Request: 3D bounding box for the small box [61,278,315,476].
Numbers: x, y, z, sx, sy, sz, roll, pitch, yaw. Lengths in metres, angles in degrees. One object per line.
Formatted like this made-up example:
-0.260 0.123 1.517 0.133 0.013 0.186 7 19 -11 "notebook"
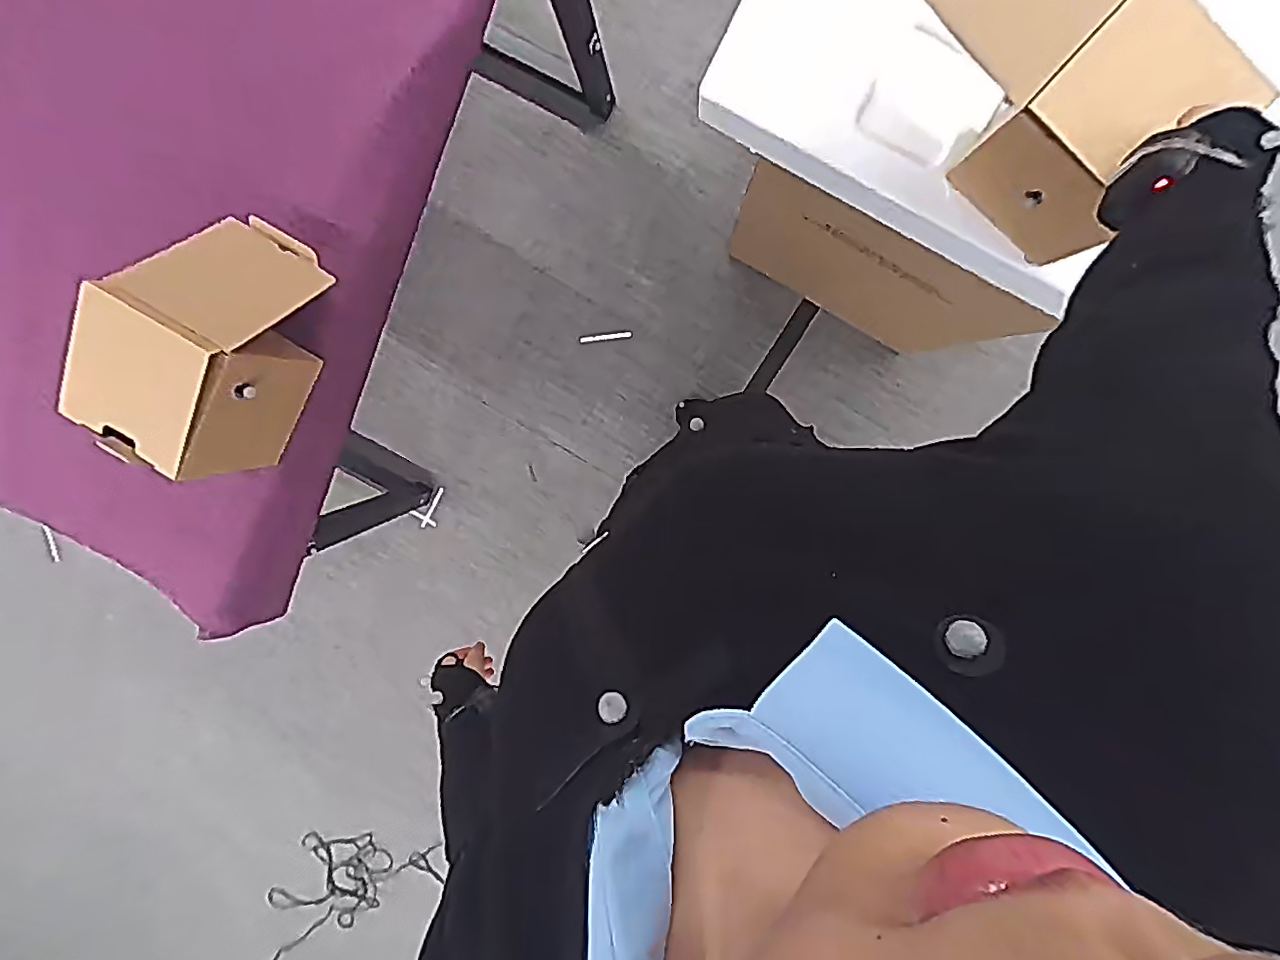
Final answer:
-0.570 -0.130 0.708 0.168 0.176 0.179 31 101 0 "small box"
